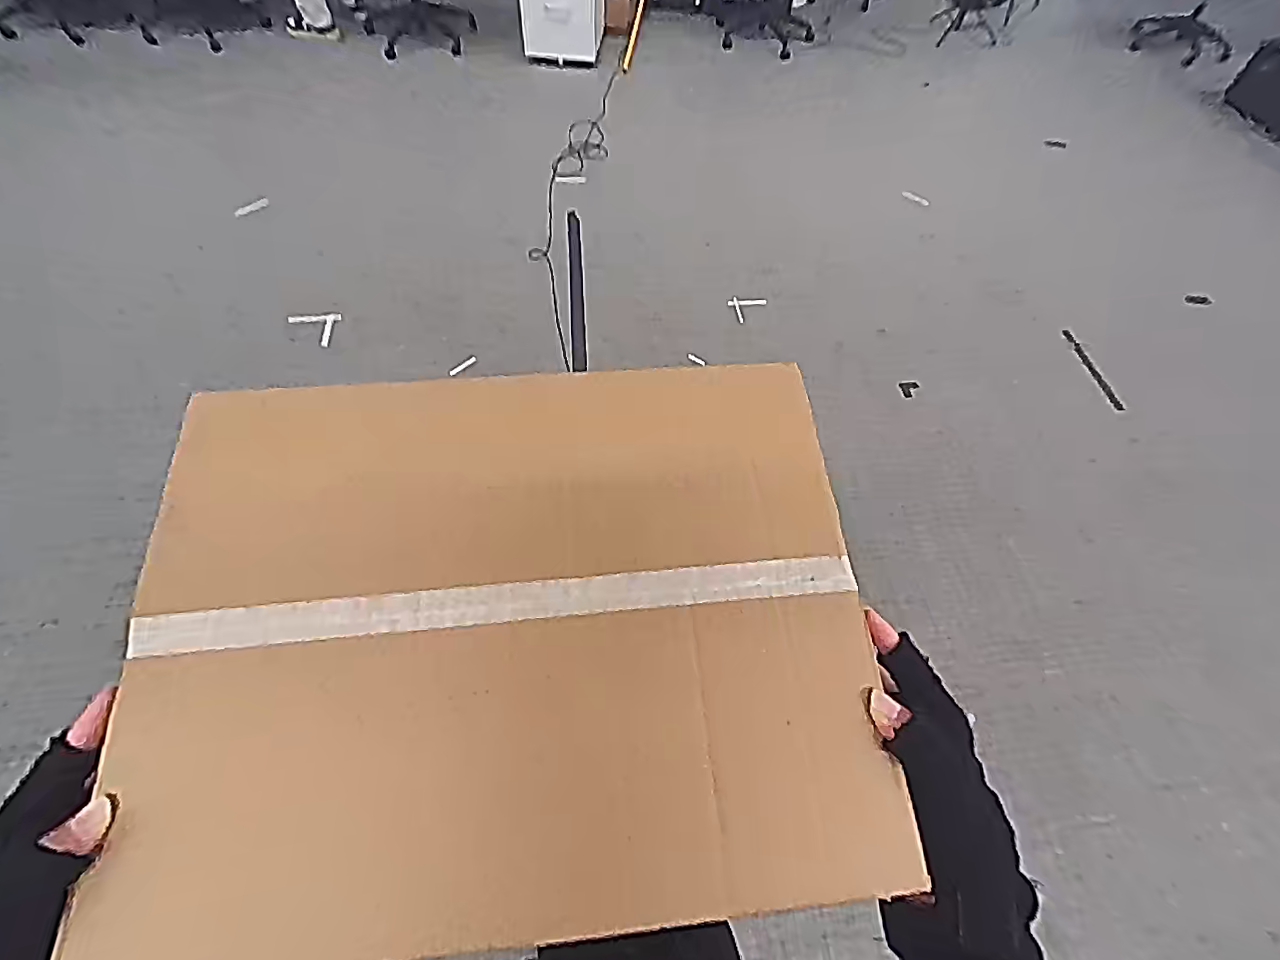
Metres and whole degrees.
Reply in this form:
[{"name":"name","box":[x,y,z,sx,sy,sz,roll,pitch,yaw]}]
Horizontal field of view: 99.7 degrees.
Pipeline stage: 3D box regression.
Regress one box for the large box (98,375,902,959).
[{"name":"large box","box":[-0.081,0.137,0.461,0.408,0.320,0.320,-4,68,-5]}]
